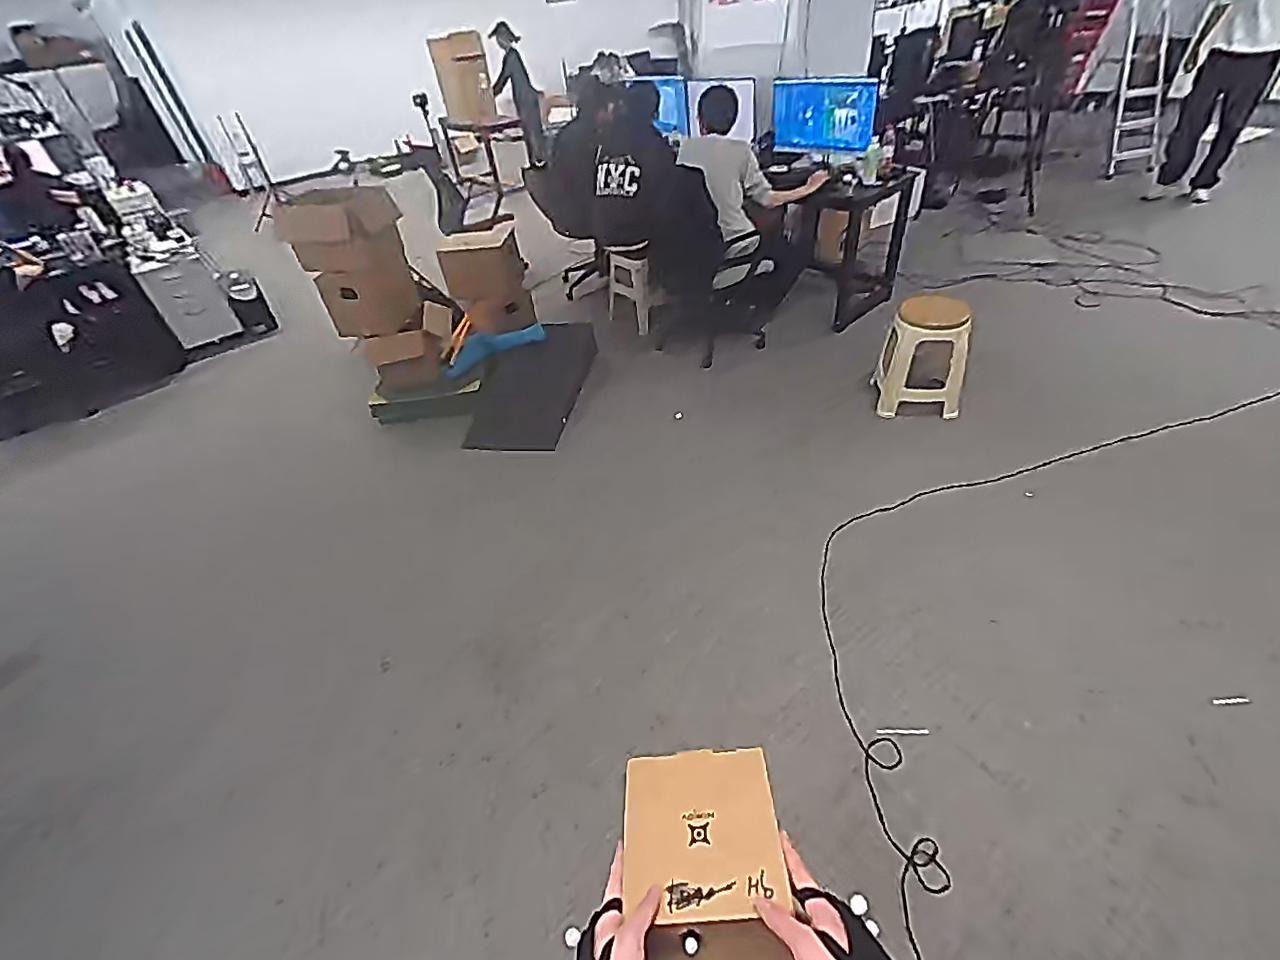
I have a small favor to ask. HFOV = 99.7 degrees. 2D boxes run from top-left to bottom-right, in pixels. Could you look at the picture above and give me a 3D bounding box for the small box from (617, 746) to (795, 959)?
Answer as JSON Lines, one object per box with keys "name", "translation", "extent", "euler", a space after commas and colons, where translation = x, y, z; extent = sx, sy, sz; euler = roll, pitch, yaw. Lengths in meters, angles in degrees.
{"name": "small box", "translation": [0.076, 0.438, 0.613], "extent": [0.168, 0.176, 0.179], "euler": [-9, 27, 7]}
